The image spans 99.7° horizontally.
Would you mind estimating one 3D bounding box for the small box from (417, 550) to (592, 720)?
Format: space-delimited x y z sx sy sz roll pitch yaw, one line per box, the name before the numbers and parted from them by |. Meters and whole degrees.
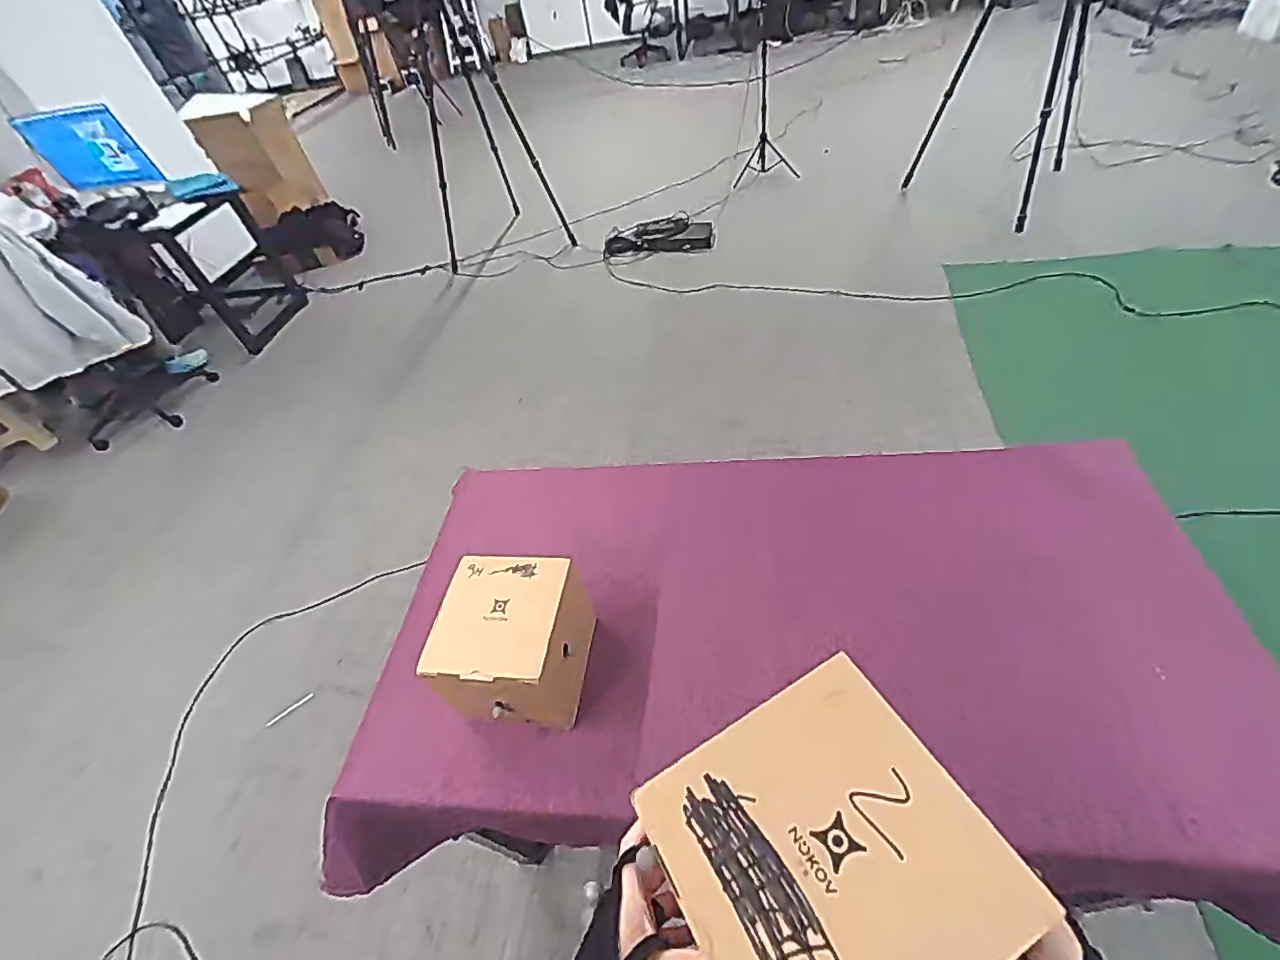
small box | -0.173 0.220 0.761 0.168 0.176 0.179 1 49 11
